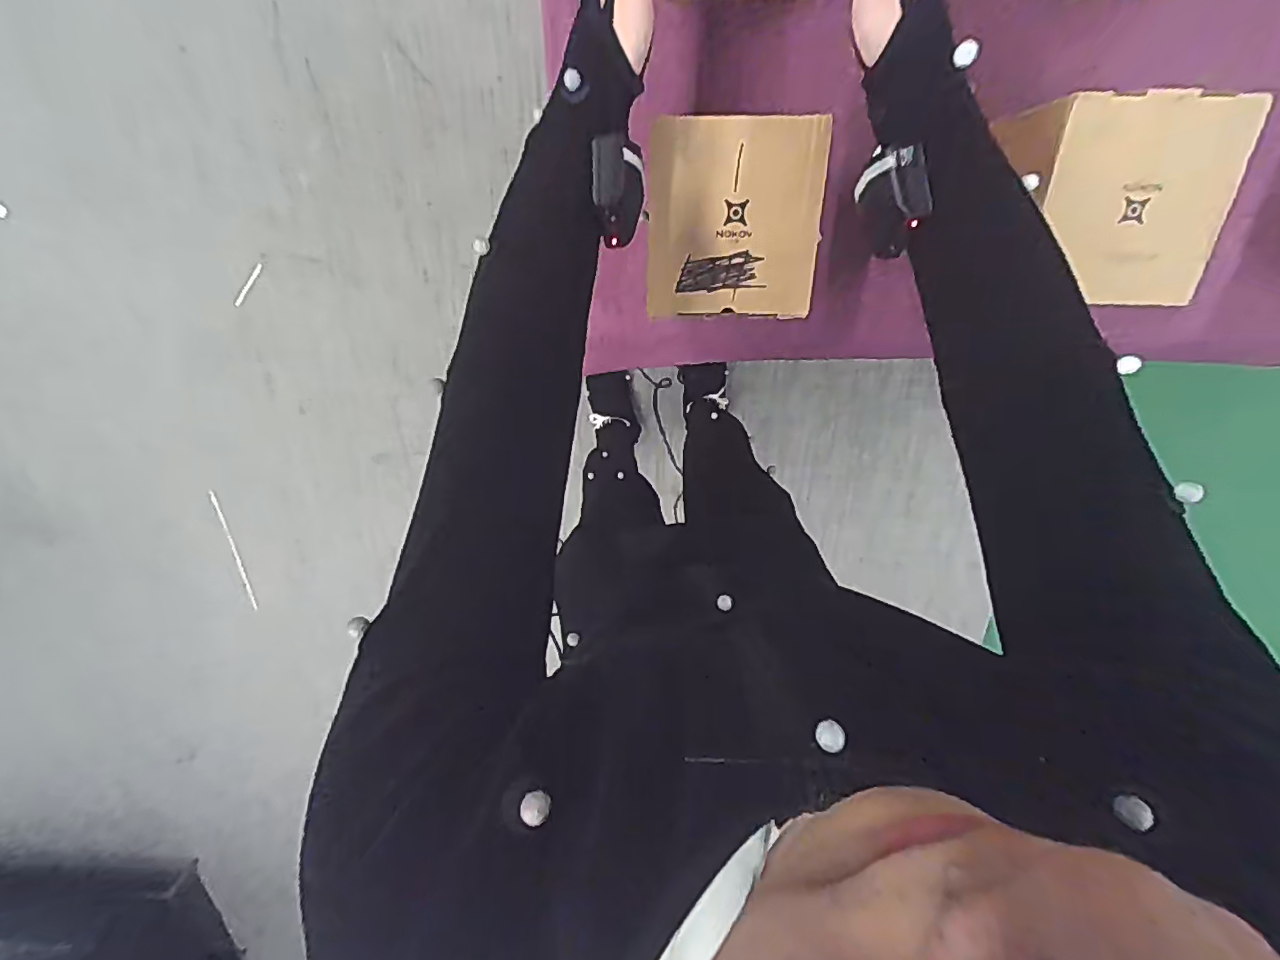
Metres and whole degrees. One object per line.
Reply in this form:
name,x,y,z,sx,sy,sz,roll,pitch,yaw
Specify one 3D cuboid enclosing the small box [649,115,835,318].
small box,0.096,-0.279,0.589,0.168,0.176,0.179,1,114,2
